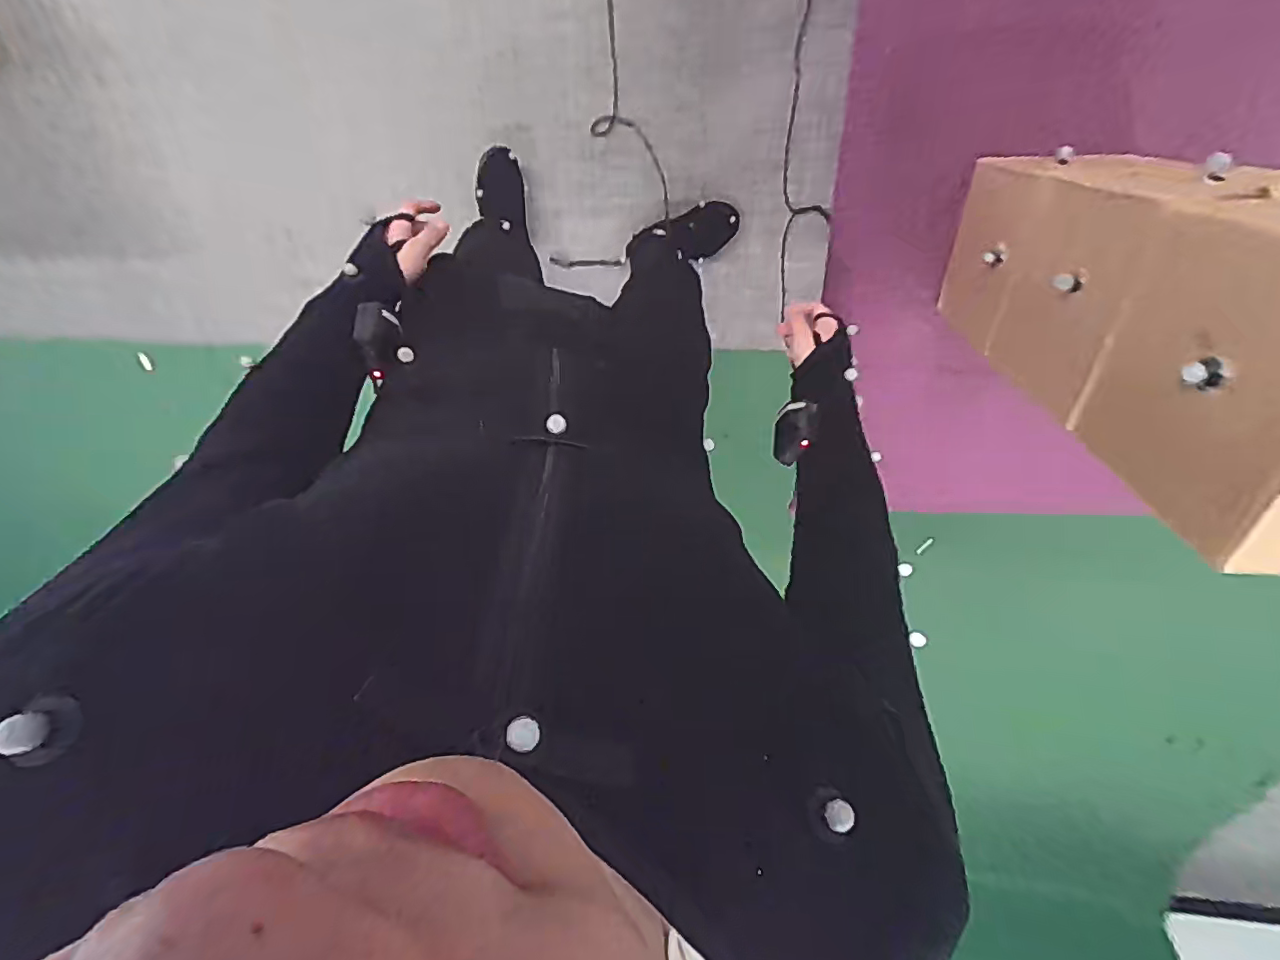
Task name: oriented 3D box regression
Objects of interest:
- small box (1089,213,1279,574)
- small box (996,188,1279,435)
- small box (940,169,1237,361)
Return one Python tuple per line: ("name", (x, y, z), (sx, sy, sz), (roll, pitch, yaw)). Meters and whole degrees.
("small box", (0.433, -0.058, 0.335), (0.168, 0.176, 0.179), (1, 123, 7))
("small box", (0.449, -0.151, 0.470), (0.168, 0.176, 0.179), (2, 123, 7))
("small box", (0.465, -0.243, 0.604), (0.168, 0.176, 0.179), (4, 124, 6))
